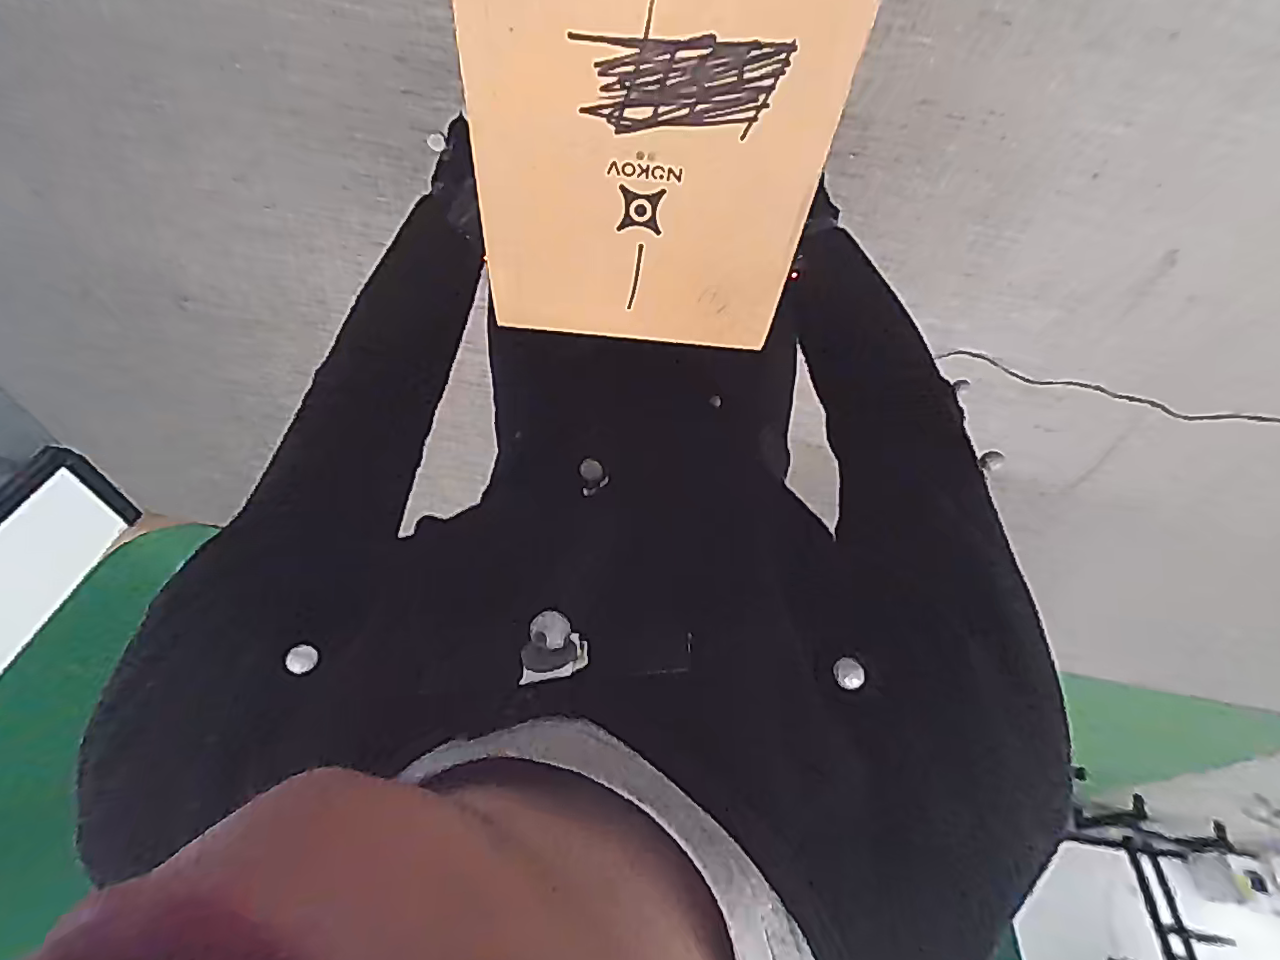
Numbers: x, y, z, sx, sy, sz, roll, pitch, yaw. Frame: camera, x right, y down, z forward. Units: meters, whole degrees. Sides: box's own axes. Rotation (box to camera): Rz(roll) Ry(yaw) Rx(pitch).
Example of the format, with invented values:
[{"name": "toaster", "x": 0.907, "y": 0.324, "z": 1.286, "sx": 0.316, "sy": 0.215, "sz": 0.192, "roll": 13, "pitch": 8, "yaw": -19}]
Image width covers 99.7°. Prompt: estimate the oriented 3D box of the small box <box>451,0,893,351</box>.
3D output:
[{"name": "small box", "x": 0.006, "y": -0.200, "z": 0.298, "sx": 0.168, "sy": 0.176, "sz": 0.179, "roll": 6, "pitch": 142, "yaw": -3}]
